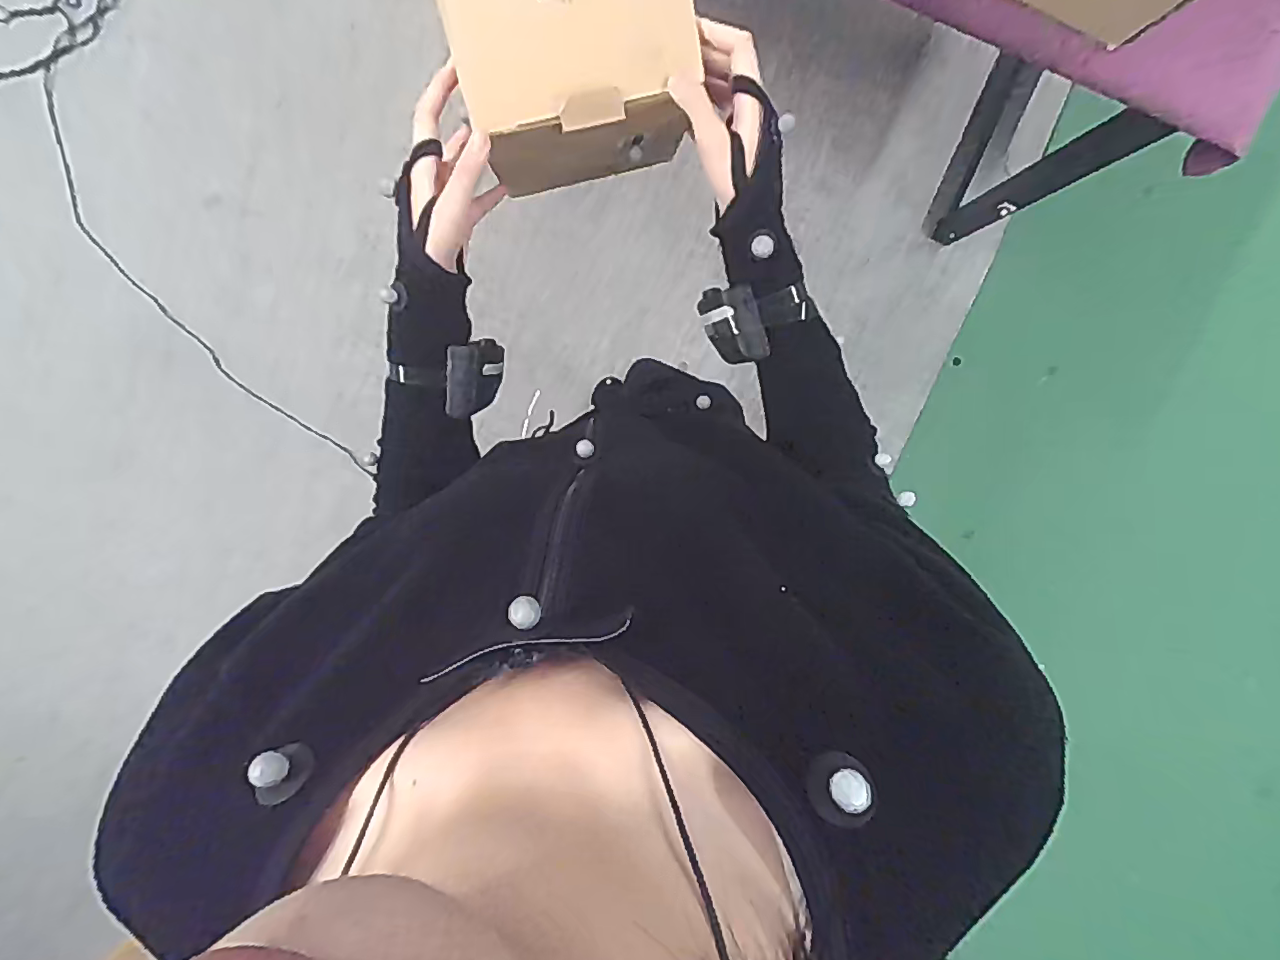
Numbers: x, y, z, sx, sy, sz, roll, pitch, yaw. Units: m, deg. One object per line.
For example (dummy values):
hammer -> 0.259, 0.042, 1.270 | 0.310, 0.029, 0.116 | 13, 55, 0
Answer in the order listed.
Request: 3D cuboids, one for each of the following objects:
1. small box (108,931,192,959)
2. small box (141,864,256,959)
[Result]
small box -> -1.073, 1.090, 1.114 | 0.179, 0.176, 0.168 | 41, 98, -6
small box -> -1.064, 1.069, 1.274 | 0.168, 0.176, 0.179 | 40, 98, -6
